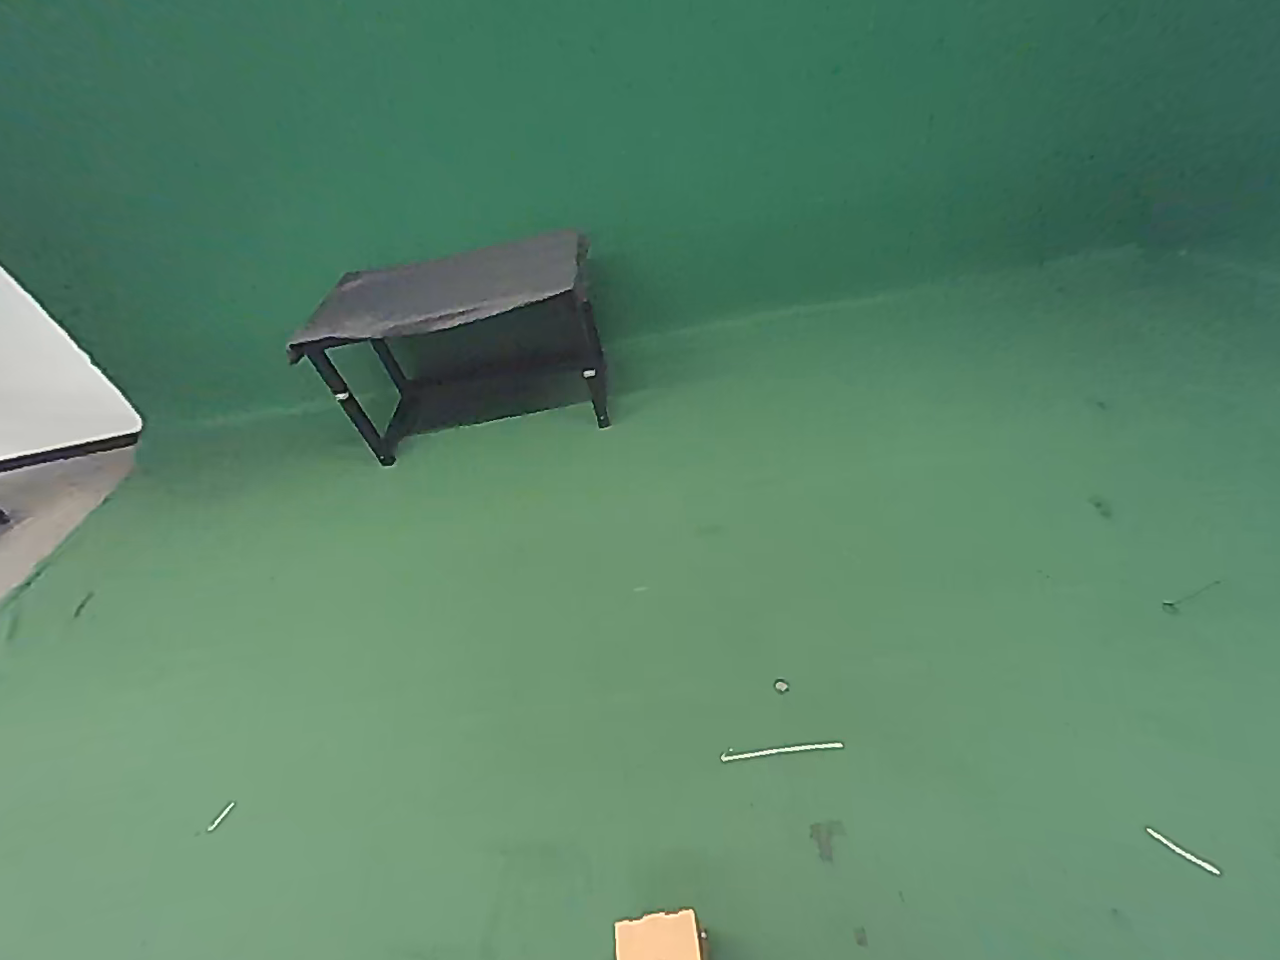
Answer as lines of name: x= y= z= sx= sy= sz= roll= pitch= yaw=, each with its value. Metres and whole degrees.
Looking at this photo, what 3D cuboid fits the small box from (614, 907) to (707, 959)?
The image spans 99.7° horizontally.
small box: x=0.049 y=0.988 z=1.081 sx=0.168 sy=0.176 sz=0.179 roll=-12 pitch=41 yaw=3
